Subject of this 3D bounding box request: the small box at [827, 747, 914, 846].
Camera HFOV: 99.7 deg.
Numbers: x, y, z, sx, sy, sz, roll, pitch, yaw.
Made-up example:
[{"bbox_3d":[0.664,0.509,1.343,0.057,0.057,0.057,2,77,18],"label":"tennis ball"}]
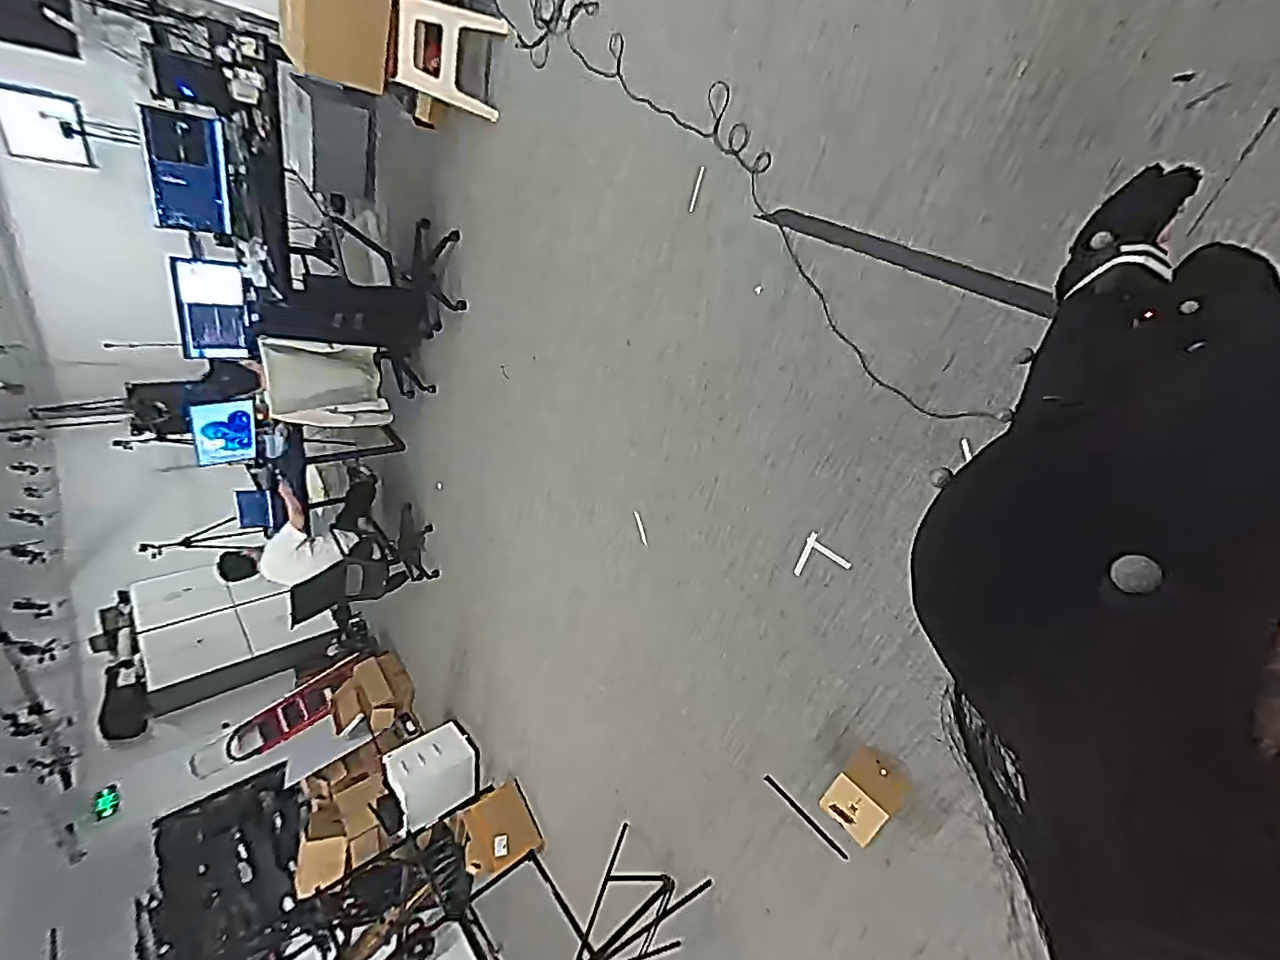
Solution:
[{"bbox_3d":[0.728,0.988,1.698,0.168,0.176,0.179,37,125,34],"label":"small box"}]
